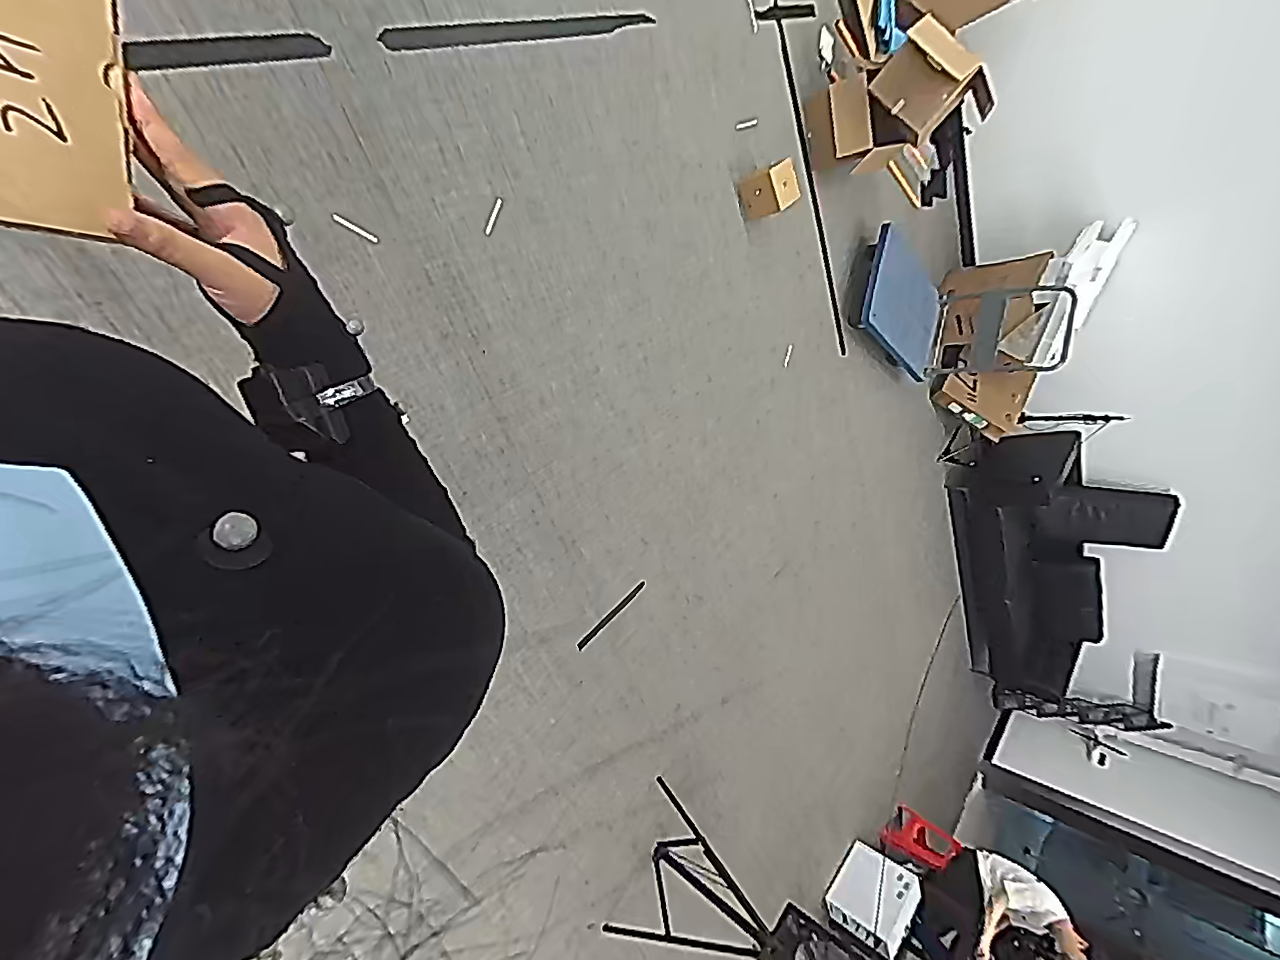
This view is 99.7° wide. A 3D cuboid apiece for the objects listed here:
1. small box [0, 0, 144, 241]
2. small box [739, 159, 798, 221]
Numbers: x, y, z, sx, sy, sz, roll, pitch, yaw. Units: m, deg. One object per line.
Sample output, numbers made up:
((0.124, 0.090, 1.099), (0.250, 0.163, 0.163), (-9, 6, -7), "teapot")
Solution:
((-0.389, -0.232, 0.286), (0.179, 0.176, 0.168), (-6, 112, -45), "small box")
((0.546, -1.239, 2.321), (0.179, 0.176, 0.168), (-45, 122, -30), "small box")
